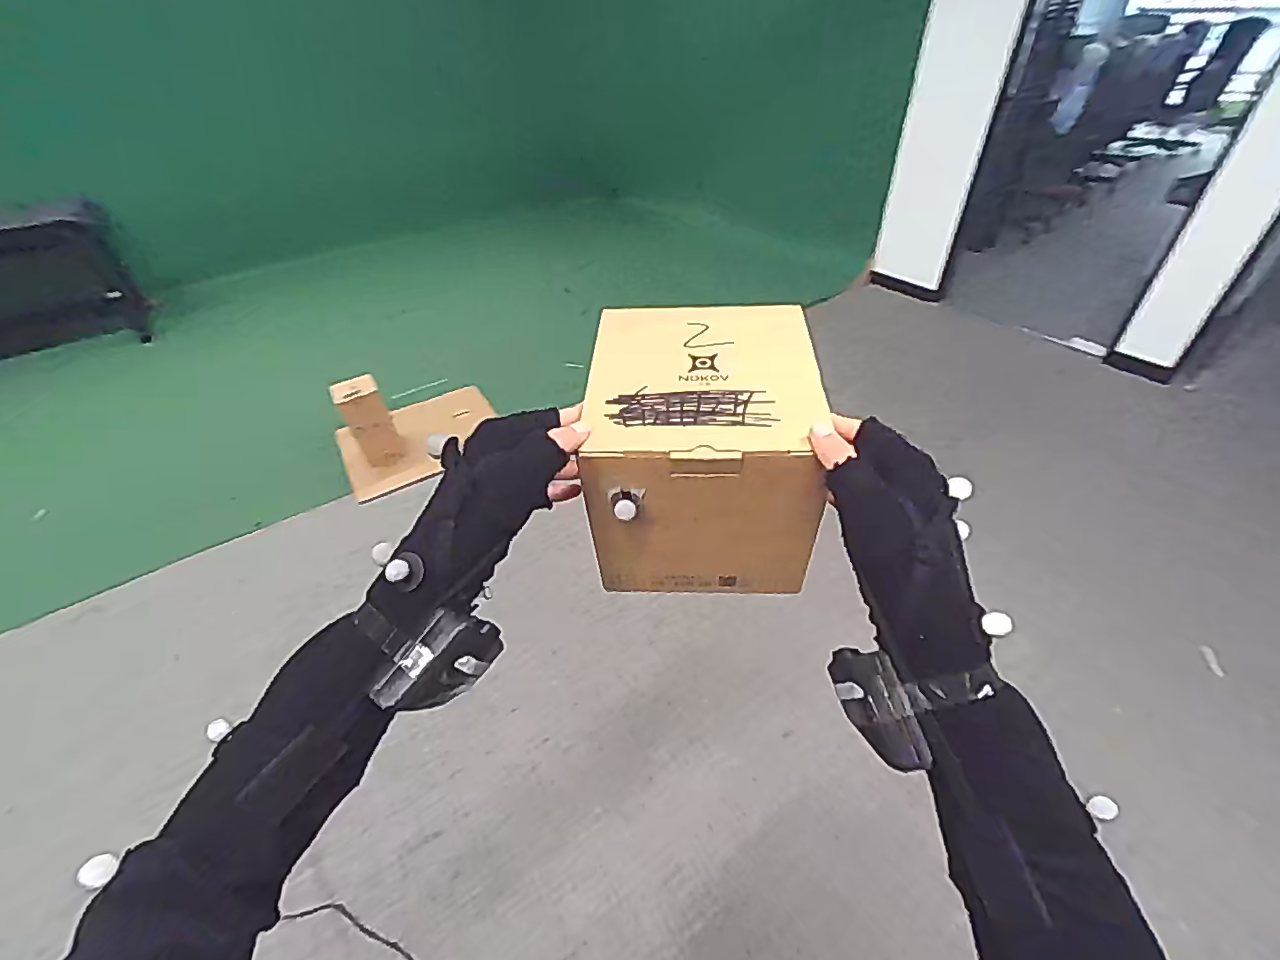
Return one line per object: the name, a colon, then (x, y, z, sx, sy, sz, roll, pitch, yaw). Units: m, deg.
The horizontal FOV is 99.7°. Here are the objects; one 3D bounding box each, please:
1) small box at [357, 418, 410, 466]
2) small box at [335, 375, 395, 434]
small box: (-1.150, -0.191, 2.400, 0.168, 0.176, 0.179, -26, 46, -21)
small box: (-1.162, -0.313, 2.291, 0.168, 0.176, 0.179, -24, 44, -20)
